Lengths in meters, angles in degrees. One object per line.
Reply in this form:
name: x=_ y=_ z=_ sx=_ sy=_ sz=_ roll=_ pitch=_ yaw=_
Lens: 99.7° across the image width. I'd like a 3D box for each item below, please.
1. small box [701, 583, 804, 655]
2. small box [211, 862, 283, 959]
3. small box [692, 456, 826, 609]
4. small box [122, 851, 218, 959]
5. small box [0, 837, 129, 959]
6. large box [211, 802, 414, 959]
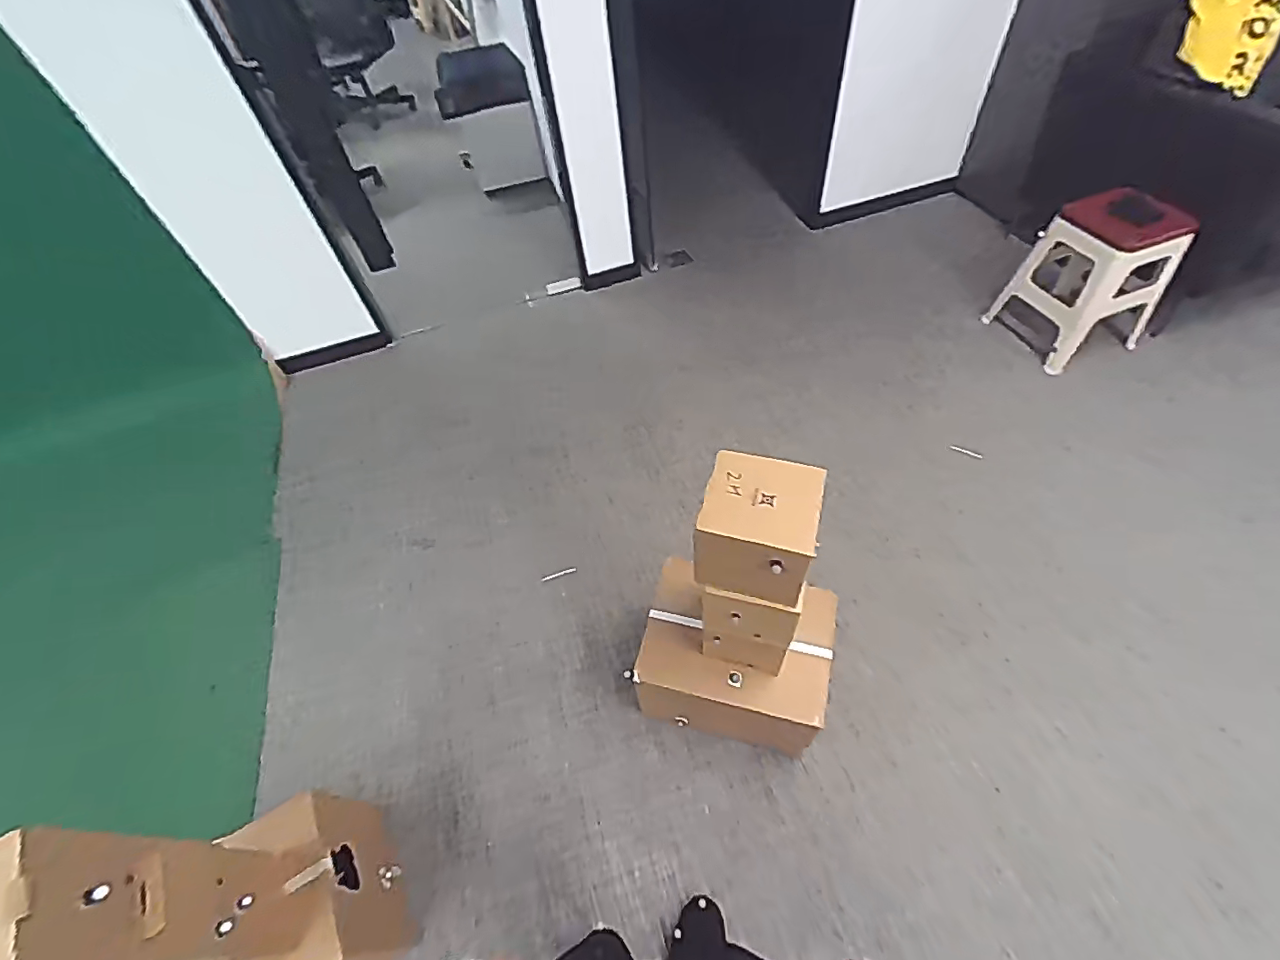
small box: x=0.213 y=0.200 z=1.004 sx=0.168 sy=0.176 sz=0.179 roll=10 pitch=52 yaw=14
small box: x=-0.715 y=0.760 z=0.876 sx=0.168 sy=0.176 sz=0.179 roll=-28 pitch=54 yaw=-15
small box: x=0.190 y=0.089 z=0.882 sx=0.179 sy=0.176 sz=0.168 roll=11 pitch=52 yaw=15
small box: x=-0.728 y=0.655 z=0.751 sx=0.179 sy=0.176 sz=0.168 roll=-29 pitch=55 yaw=-16
small box: x=-0.746 y=0.553 z=0.623 sx=0.179 sy=0.176 sz=0.168 roll=-28 pitch=54 yaw=-17
large box: x=-0.735 y=0.922 z=1.063 sx=0.408 sy=0.320 sz=0.320 roll=-30 pitch=53 yaw=-15
